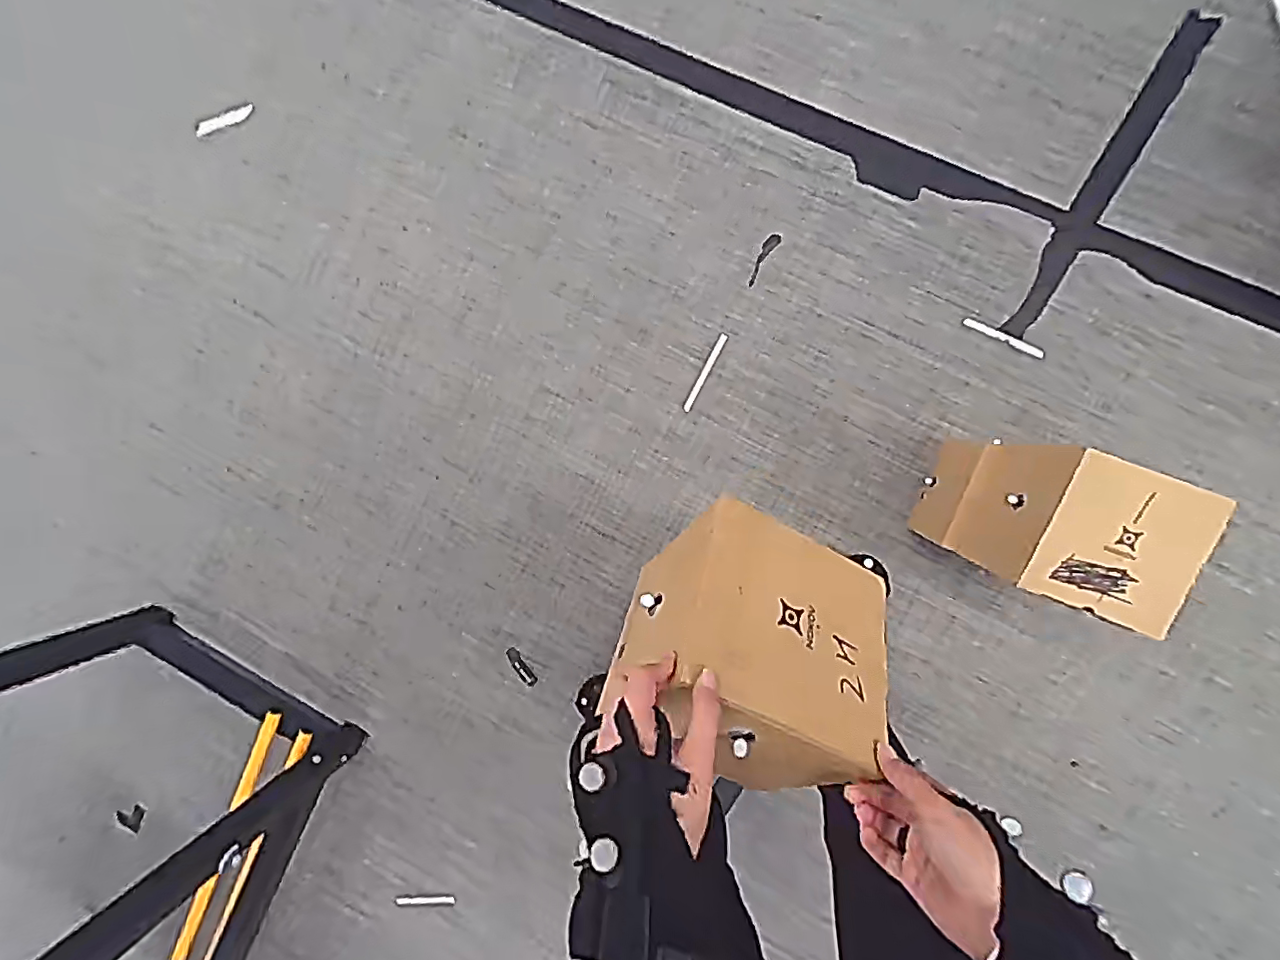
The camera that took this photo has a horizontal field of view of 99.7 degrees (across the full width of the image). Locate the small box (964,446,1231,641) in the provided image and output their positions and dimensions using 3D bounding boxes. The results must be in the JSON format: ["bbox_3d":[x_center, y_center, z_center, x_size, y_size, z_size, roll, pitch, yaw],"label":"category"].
[{"bbox_3d":[0.549,0.066,0.684,0.168,0.176,0.179,22,98,6],"label":"small box"}]

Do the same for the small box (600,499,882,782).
[{"bbox_3d":[0.086,0.153,0.482,0.179,0.168,0.176,29,141,-10],"label":"small box"}]
